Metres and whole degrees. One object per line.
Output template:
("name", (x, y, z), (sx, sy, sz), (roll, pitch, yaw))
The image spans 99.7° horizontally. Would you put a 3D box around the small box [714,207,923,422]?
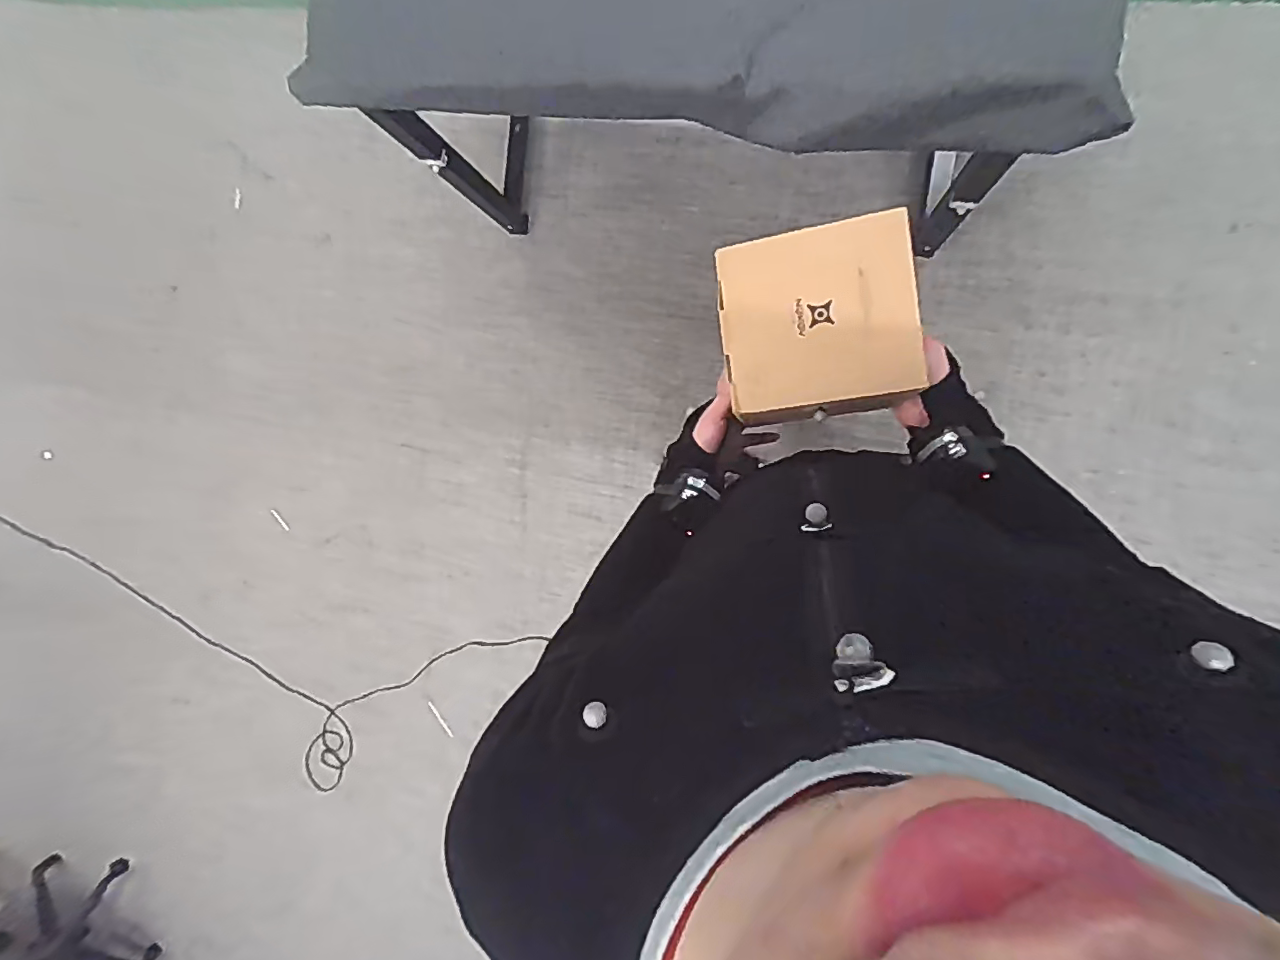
("small box", (0.185, -0.158, 0.584), (0.179, 0.176, 0.168), (-7, 90, 15))
